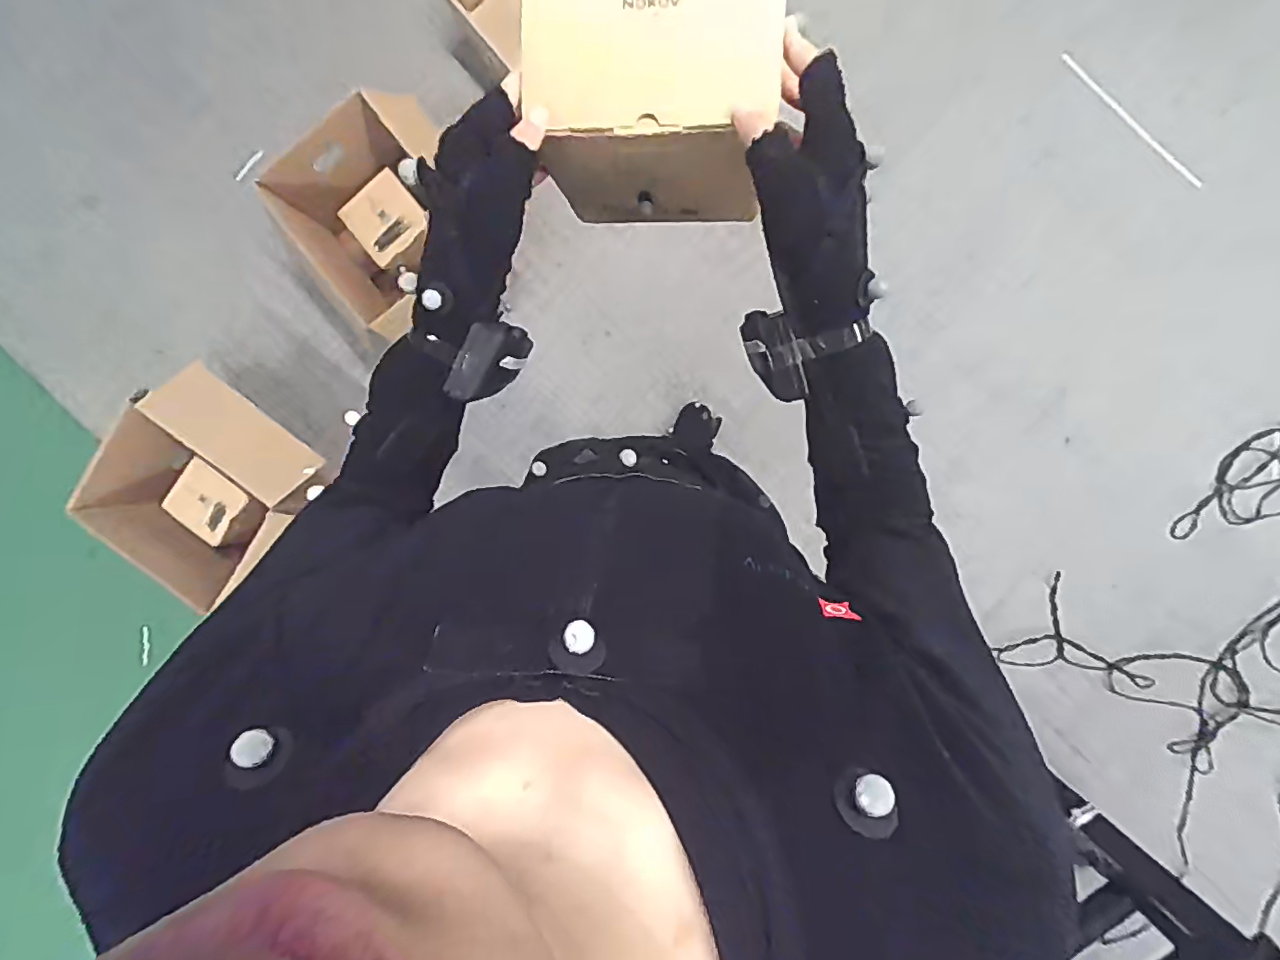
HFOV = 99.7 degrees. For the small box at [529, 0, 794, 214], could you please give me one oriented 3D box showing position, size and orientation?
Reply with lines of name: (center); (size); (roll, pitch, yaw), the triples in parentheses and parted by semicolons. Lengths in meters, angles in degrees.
small box: (0.022, -0.322, 0.409); (0.168, 0.176, 0.179); (3, 99, 8)
